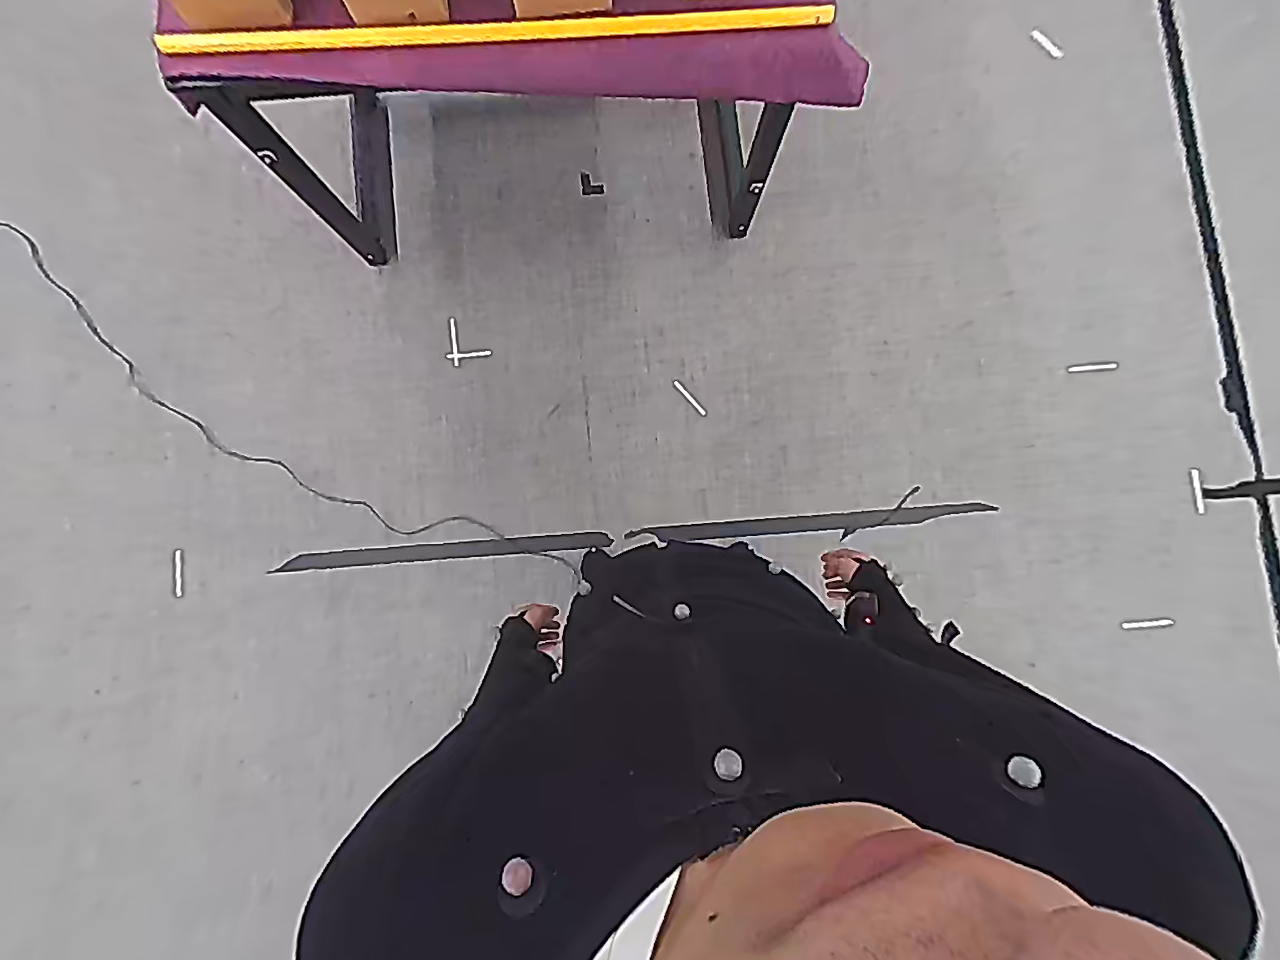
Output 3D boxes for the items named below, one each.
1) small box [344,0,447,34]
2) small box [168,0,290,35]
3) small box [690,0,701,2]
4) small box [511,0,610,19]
[{"bbox_3d":[-0.434,-0.902,0.904,0.168,0.176,0.179,-5,85,0],"label":"small box"},{"bbox_3d":[-0.714,-0.890,0.899,0.179,0.176,0.168,-6,85,-1],"label":"small box"},{"bbox_3d":[0.147,-0.969,0.912,0.168,0.176,0.179,-6,84,1],"label":"small box"},{"bbox_3d":[-0.148,-0.924,0.907,0.179,0.176,0.168,-7,84,-1],"label":"small box"}]
